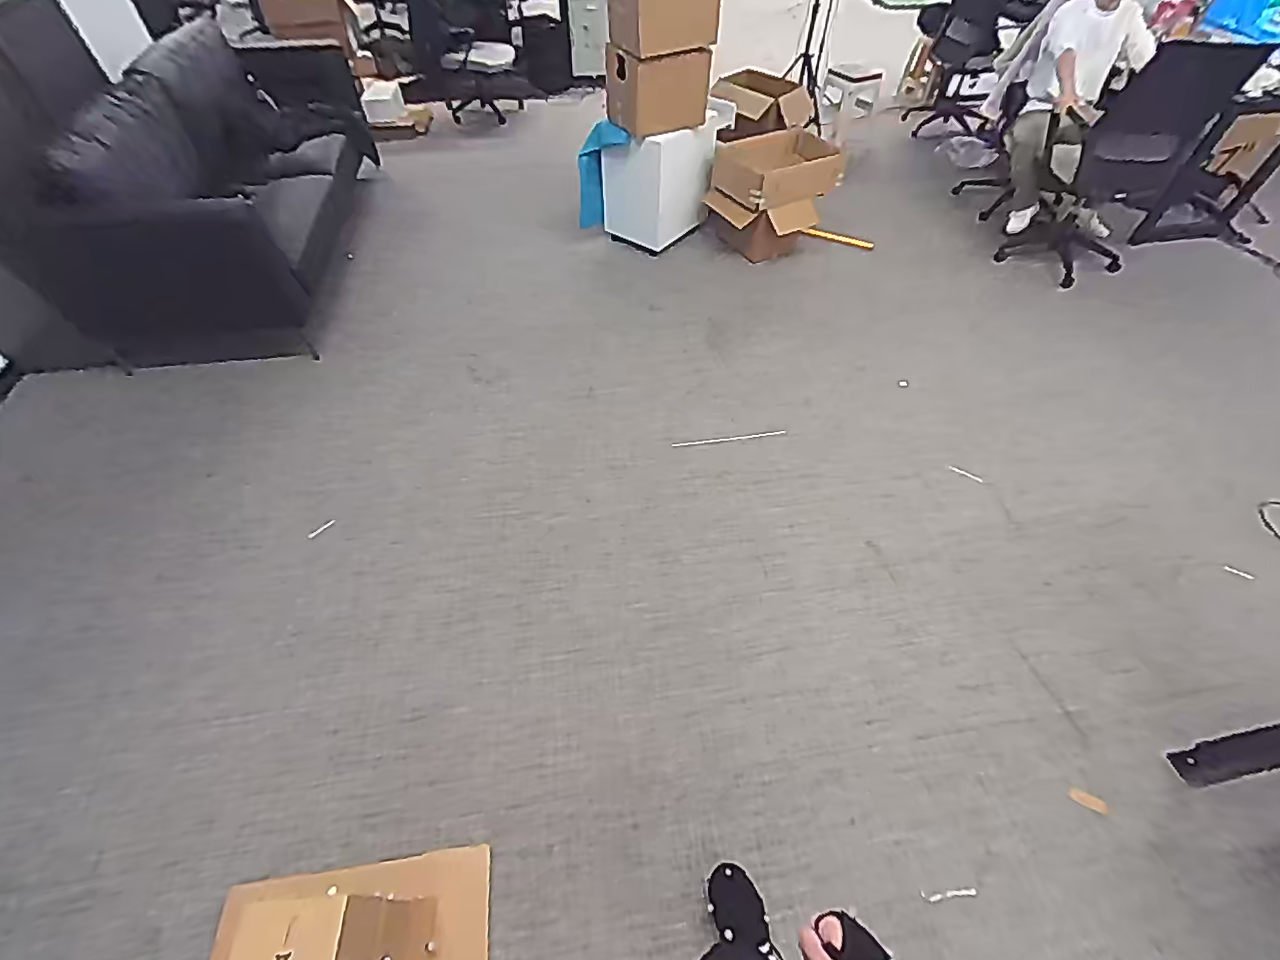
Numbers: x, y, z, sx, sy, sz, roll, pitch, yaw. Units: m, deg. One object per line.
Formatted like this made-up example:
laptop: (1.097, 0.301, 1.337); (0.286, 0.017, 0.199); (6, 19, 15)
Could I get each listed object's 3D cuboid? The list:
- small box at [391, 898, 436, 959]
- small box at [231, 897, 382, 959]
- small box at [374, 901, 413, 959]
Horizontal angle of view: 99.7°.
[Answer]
small box: (-0.543, 1.006, 1.144); (0.168, 0.176, 0.179); (-4, 52, -3)
small box: (-0.548, 0.801, 0.889); (0.168, 0.176, 0.179); (-2, 51, -3)
small box: (-0.546, 0.905, 1.015); (0.168, 0.176, 0.179); (-2, 52, -2)
